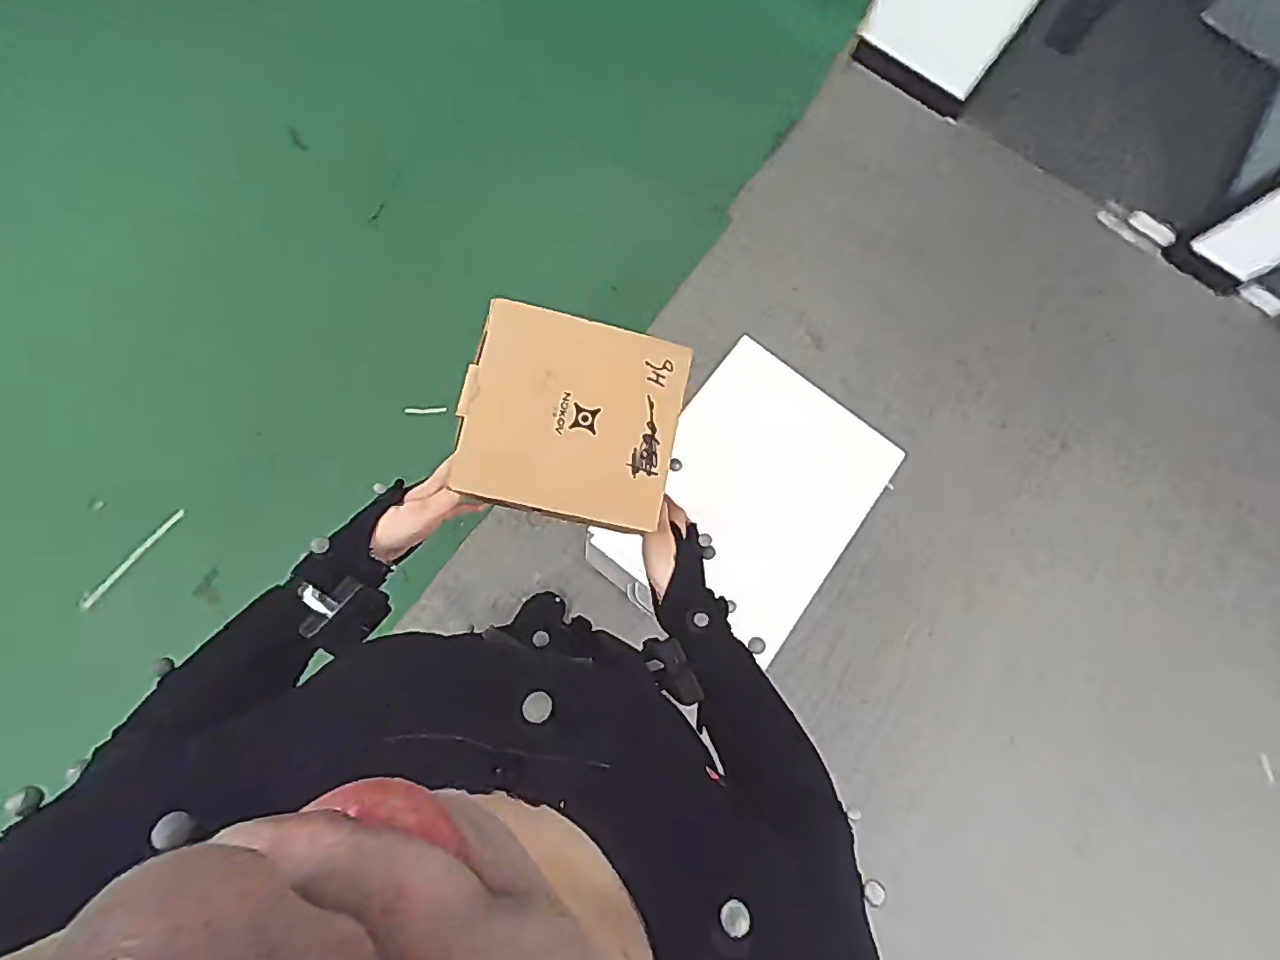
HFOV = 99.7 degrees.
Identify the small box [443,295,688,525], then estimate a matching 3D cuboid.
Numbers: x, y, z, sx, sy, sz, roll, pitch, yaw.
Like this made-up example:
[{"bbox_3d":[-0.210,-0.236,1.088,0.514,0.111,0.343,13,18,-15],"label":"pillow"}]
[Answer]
[{"bbox_3d":[-0.069,-0.050,0.526,0.179,0.176,0.168,12,84,-7],"label":"small box"}]
